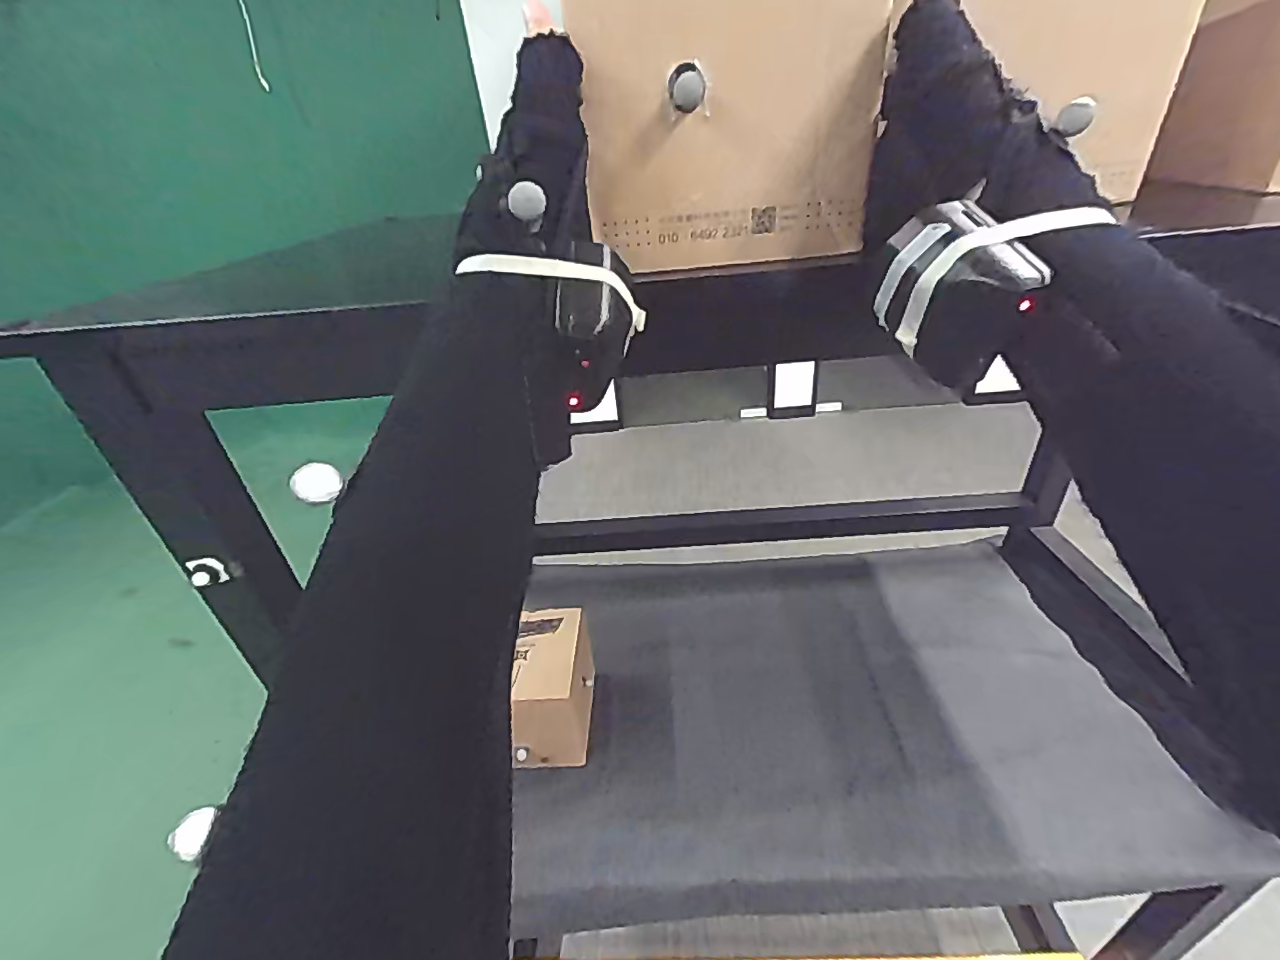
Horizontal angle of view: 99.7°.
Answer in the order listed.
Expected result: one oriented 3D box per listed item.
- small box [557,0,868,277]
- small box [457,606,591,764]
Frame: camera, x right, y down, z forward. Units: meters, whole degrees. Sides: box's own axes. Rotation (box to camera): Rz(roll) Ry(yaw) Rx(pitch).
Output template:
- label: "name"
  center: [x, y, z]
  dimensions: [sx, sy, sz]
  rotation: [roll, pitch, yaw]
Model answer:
- label: "small box"
  center: [0.045, -0.243, 0.372]
  dimensions: [0.168, 0.176, 0.179]
  rotation: [-5, 31, 2]
- label: "small box"
  center: [-0.173, 0.327, 0.873]
  dimensions: [0.168, 0.176, 0.179]
  rotation: [-4, 32, 3]
